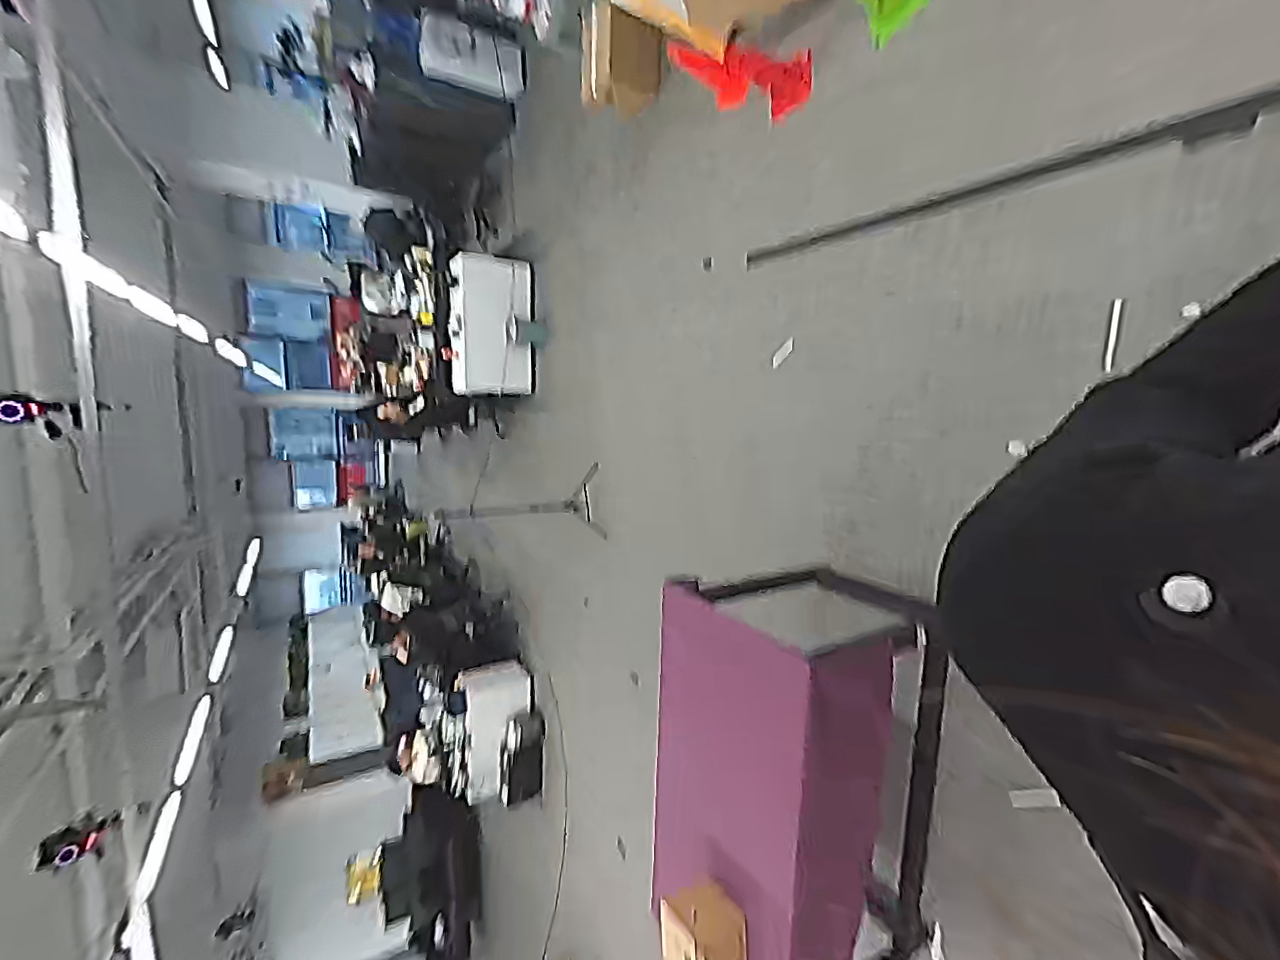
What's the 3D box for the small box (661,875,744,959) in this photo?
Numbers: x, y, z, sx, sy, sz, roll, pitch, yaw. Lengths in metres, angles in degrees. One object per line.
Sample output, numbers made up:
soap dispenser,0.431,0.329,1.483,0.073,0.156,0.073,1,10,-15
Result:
small box,0.180,1.264,1.520,0.179,0.176,0.168,-2,91,59
